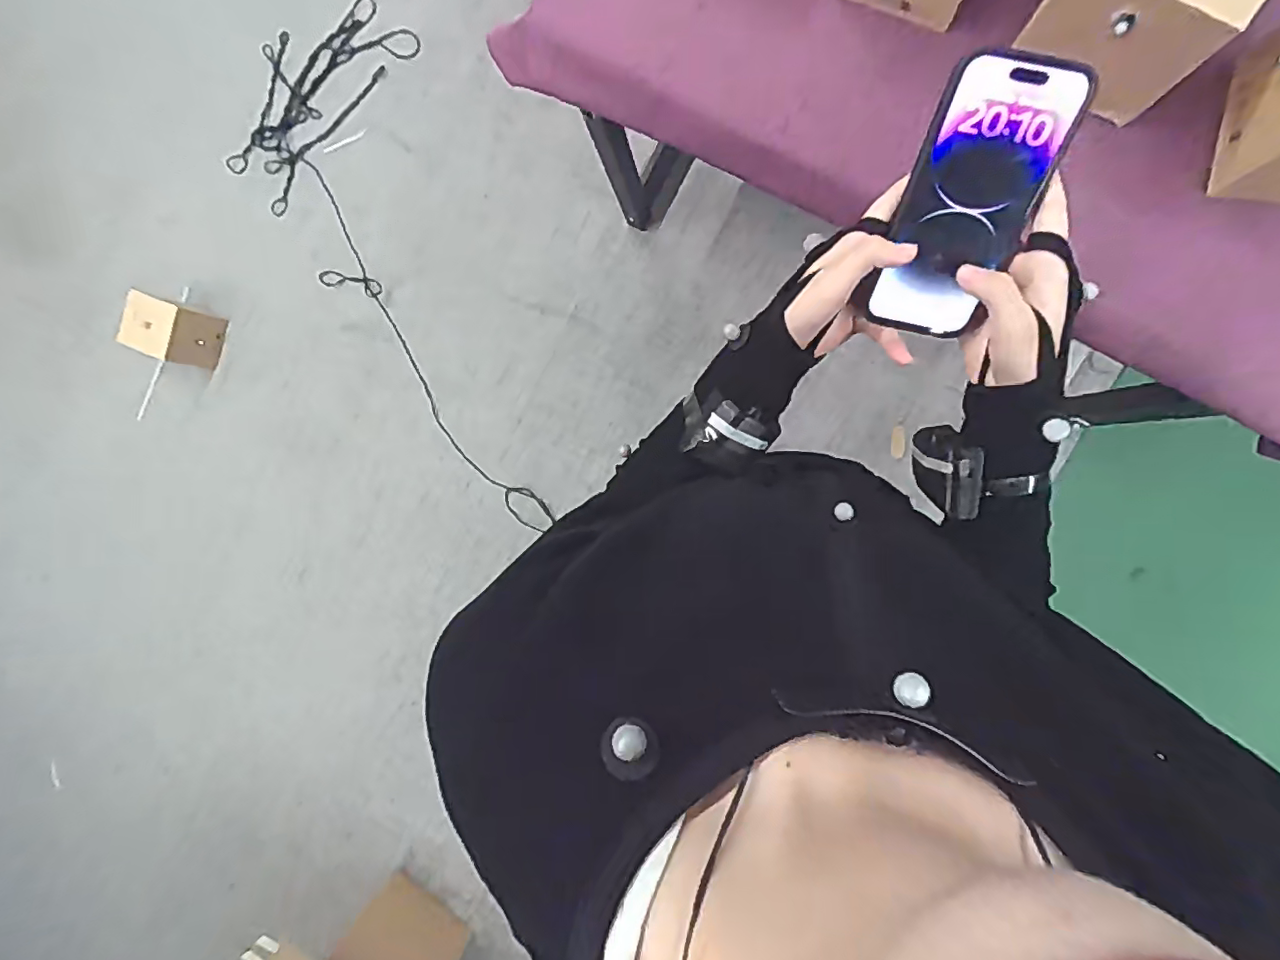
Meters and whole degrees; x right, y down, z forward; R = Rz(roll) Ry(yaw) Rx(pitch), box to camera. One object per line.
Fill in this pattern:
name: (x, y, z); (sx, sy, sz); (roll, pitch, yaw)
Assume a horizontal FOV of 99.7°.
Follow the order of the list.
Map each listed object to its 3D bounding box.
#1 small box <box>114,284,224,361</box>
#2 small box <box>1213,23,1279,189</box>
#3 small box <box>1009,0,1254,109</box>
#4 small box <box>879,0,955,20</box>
small box: (-1.423, -0.470, 1.644); (0.179, 0.176, 0.168); (22, 96, 7)
small box: (0.782, -0.425, 0.570); (0.179, 0.176, 0.168); (10, 94, 8)
small box: (0.565, -0.563, 0.598); (0.179, 0.176, 0.168); (34, 98, 6)
small box: (0.347, -0.703, 0.624); (0.168, 0.176, 0.179); (26, 97, 7)
